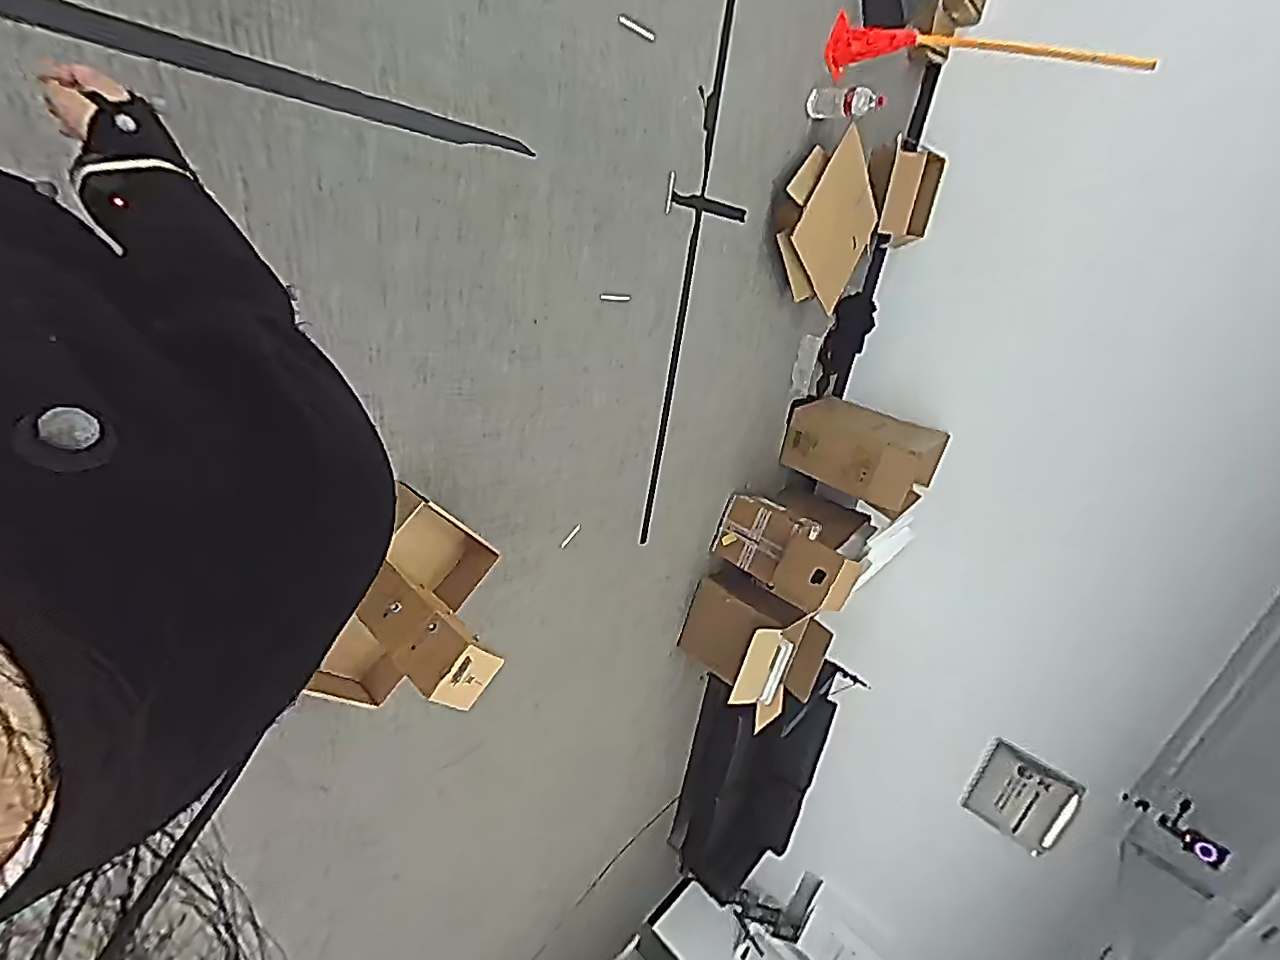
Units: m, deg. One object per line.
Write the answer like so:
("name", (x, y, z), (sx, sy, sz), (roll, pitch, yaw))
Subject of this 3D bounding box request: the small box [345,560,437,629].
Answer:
("small box", (-0.755, 0.373, 1.656), (0.168, 0.176, 0.179), (-52, 144, -17))

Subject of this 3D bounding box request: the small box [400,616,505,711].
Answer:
("small box", (-0.512, 0.495, 1.475), (0.168, 0.176, 0.179), (-53, 145, -15))

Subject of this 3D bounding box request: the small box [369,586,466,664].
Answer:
("small box", (-0.636, 0.434, 1.564), (0.168, 0.176, 0.179), (-53, 143, -16))
